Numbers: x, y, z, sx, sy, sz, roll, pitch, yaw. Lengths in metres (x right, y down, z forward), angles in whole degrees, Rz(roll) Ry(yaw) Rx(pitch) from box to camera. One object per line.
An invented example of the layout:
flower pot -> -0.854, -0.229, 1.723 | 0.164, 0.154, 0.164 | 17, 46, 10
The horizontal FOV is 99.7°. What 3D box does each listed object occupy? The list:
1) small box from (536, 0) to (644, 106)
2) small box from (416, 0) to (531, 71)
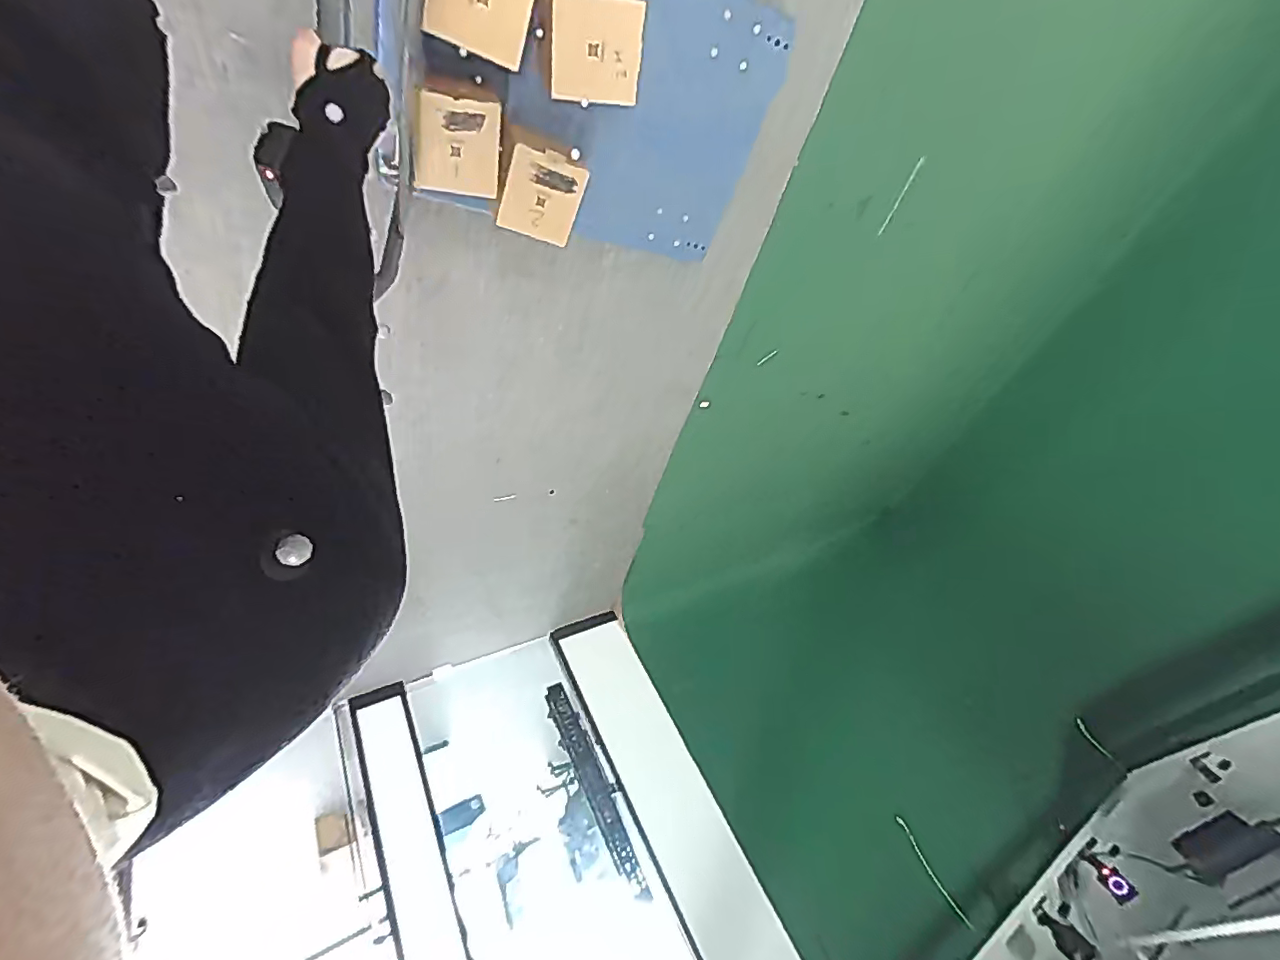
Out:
small box -> -0.109, -0.869, 1.073 | 0.179, 0.176, 0.168 | -6, 138, -17
small box -> -0.300, -0.888, 0.975 | 0.179, 0.176, 0.168 | 7, 133, -28
